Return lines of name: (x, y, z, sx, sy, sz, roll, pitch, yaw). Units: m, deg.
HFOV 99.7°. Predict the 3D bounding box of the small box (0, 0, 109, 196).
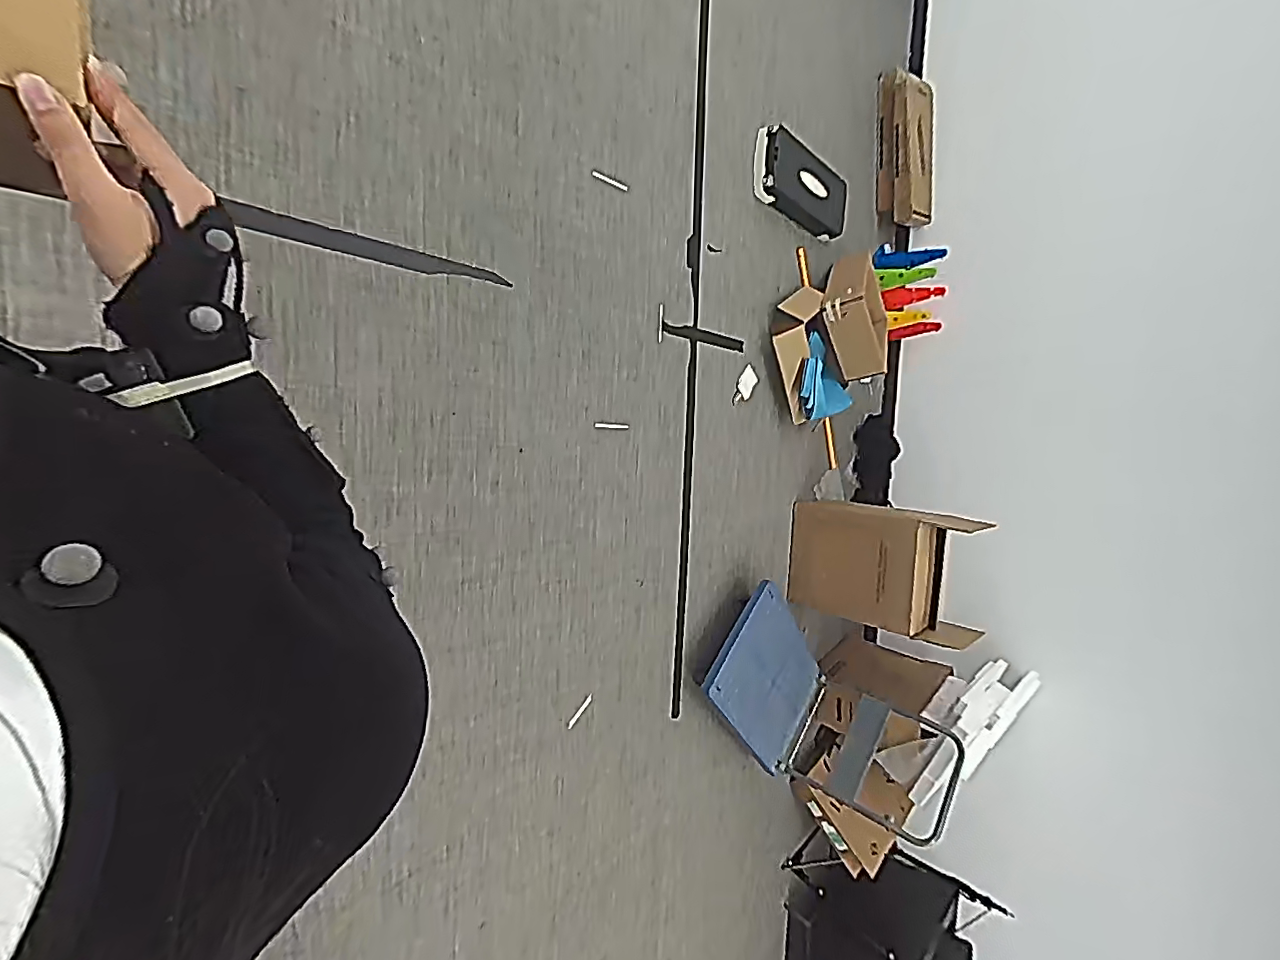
small box: (-0.405, -0.277, 0.282, 0.179, 0.176, 0.168, -3, 95, -44)
